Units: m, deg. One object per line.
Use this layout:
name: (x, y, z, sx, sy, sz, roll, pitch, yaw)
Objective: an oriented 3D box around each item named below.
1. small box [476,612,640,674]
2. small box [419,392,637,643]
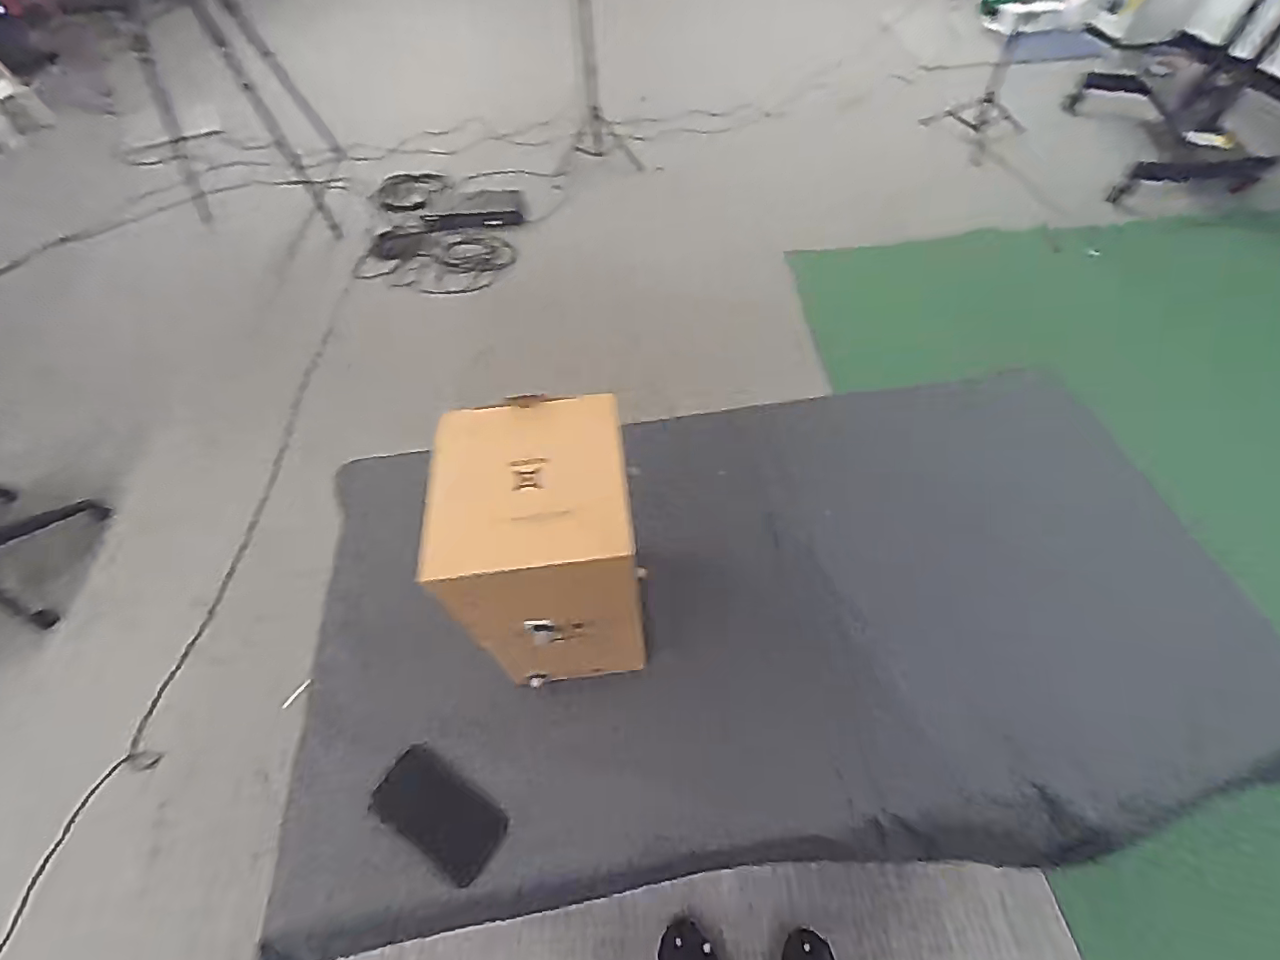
small box: (-0.091, 0.129, 0.664, 0.168, 0.176, 0.179, -6, 55, -2)
small box: (-0.095, 0.041, 0.528, 0.168, 0.176, 0.179, -7, 56, -2)
